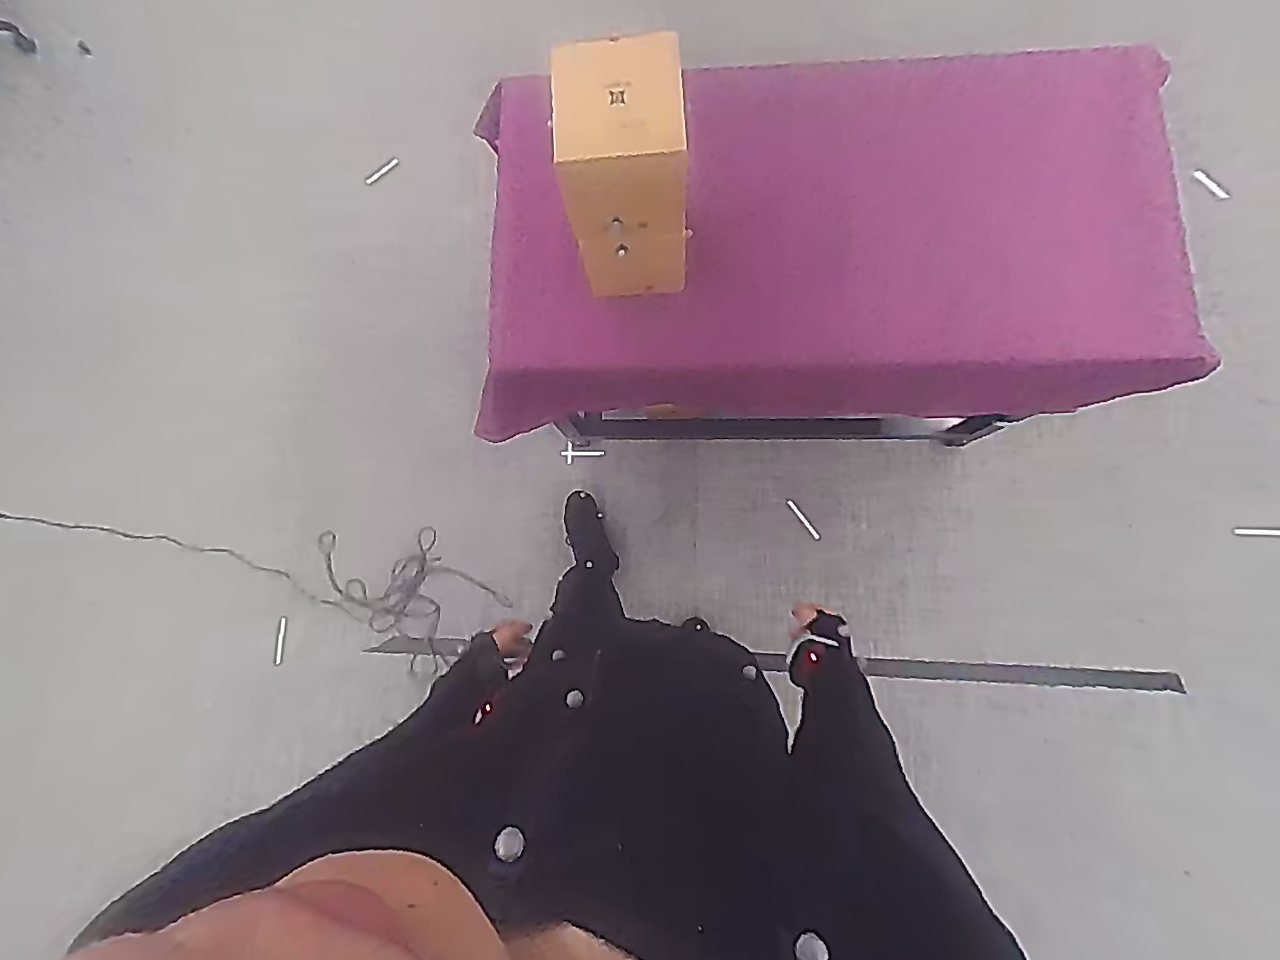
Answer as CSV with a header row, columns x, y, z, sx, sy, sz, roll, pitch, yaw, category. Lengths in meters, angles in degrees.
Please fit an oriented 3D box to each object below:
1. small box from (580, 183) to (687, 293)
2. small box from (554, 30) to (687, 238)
x,y,z,sx,sy,sz,roll,pitch,yaw,category
-0.007,-0.439,0.912,0.168,0.176,0.179,-1,80,4,small box
-0.023,-0.468,0.752,0.168,0.176,0.179,-3,81,3,small box
